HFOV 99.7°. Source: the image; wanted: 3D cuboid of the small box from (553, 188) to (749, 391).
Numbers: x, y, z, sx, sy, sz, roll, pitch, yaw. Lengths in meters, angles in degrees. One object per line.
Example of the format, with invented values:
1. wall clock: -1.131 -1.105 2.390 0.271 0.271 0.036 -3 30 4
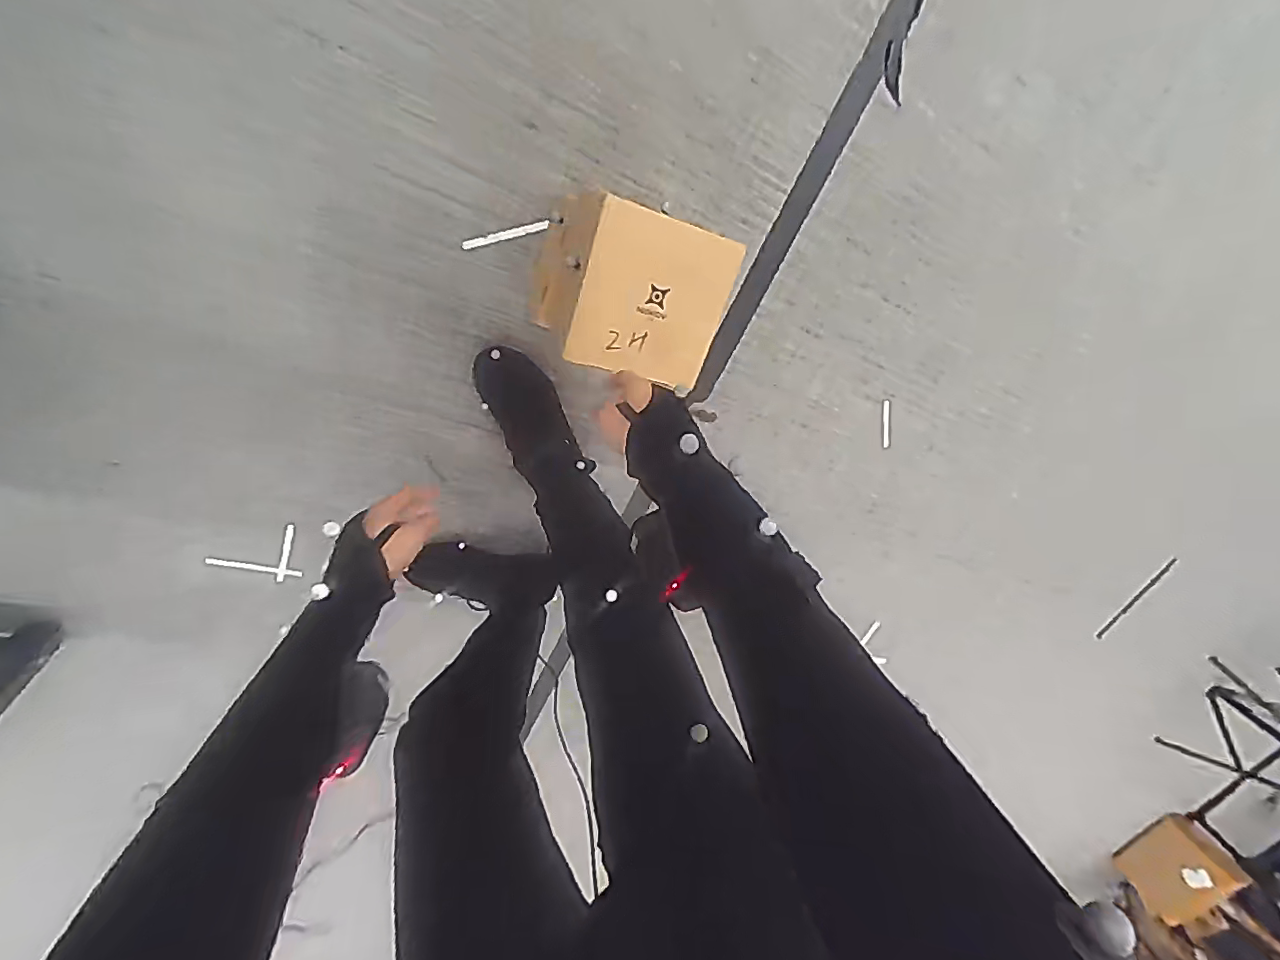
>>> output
1. small box: -0.001 -0.235 0.658 0.168 0.176 0.179 11 118 -22
